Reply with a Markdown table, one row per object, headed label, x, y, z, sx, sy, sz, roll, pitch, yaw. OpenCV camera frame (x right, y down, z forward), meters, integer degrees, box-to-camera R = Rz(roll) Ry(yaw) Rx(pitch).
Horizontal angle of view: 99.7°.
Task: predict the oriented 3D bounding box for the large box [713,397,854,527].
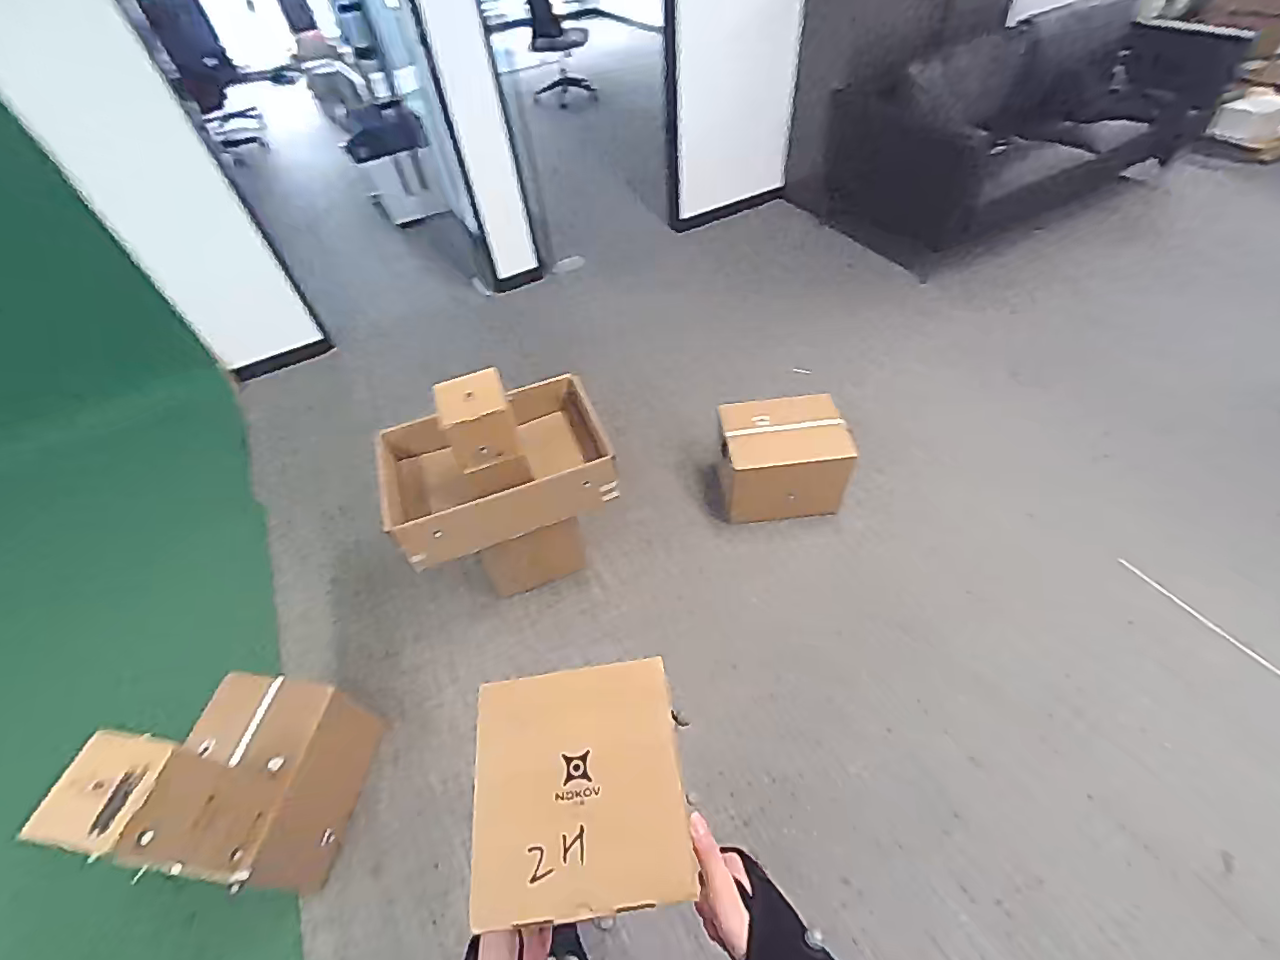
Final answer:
| label | x | y | z | sx | sy | sz | roll | pitch | yaw |
| --- | --- | --- | --- | --- | --- | --- | --- | --- | --- |
| large box | 0.488 | -0.060 | 1.936 | 0.408 | 0.320 | 0.320 | -7 | 49 | 0 |

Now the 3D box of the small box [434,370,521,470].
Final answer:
| label | x | y | z | sx | sy | sz | roll | pitch | yaw |
| --- | --- | --- | --- | --- | --- | --- | --- | --- | --- |
| small box | -0.426 | -0.156 | 1.424 | 0.168 | 0.176 | 0.179 | -19 | 52 | -10 |

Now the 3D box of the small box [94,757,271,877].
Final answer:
| label | x | y | z | sx | sy | sz | roll | pitch | yaw |
| --- | --- | --- | --- | --- | --- | --- | --- | --- | --- |
| small box | -0.905 | 0.684 | 1.093 | 0.179 | 0.176 | 0.168 | 5 | 49 | 9 |

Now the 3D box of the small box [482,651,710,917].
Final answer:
| label | x | y | z | sx | sy | sz | roll | pitch | yaw |
| --- | --- | --- | --- | --- | --- | --- | --- | --- | --- |
| small box | -0.033 | 0.277 | 0.496 | 0.168 | 0.176 | 0.179 | -8 | 55 | 1 |
